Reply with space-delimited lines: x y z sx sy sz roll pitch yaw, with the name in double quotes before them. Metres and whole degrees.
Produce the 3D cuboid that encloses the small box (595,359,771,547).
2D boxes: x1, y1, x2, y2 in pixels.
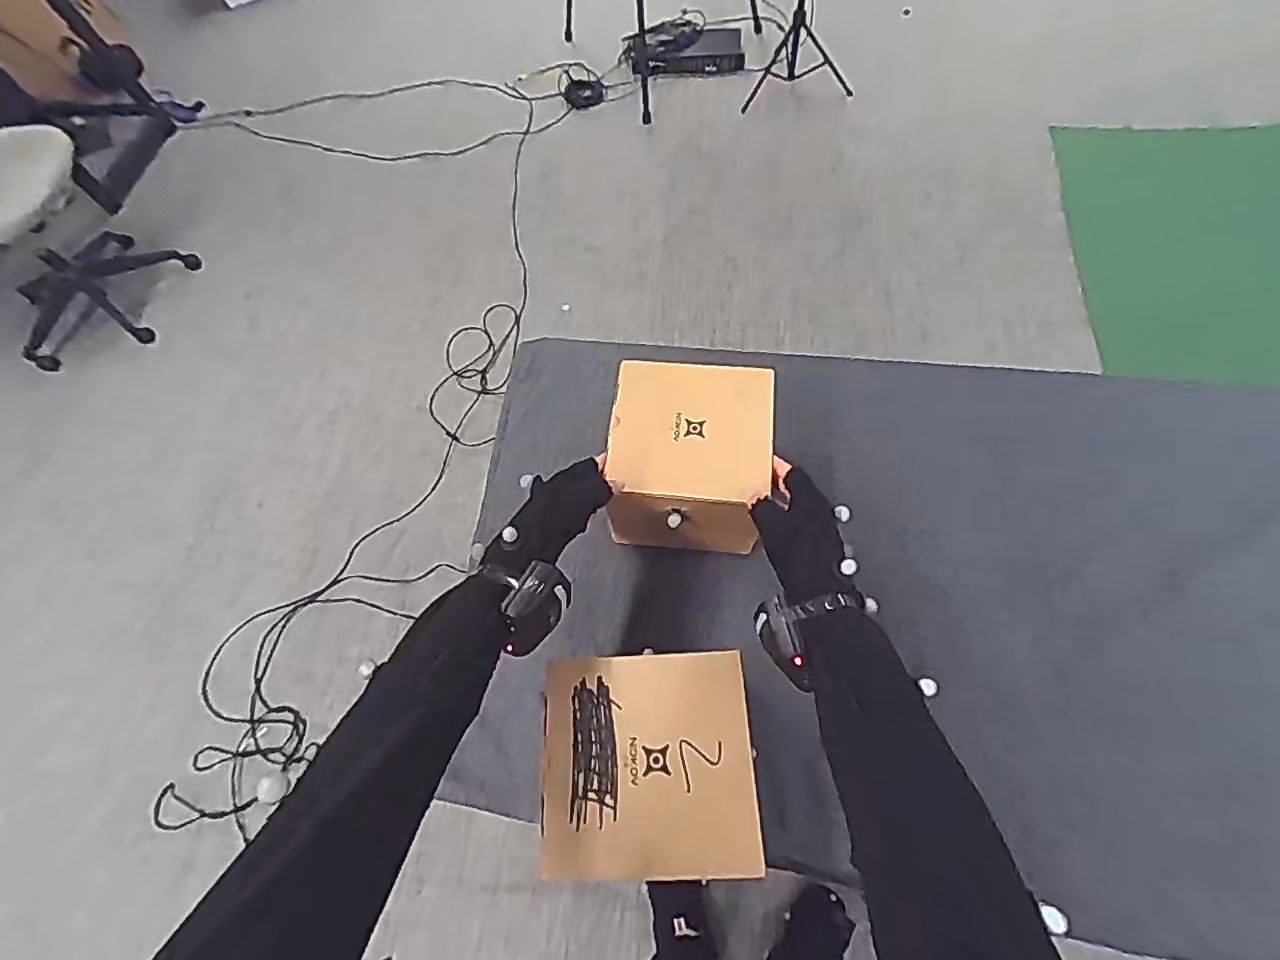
"small box" 0.056 -0.024 0.647 0.179 0.176 0.168 4 66 8
